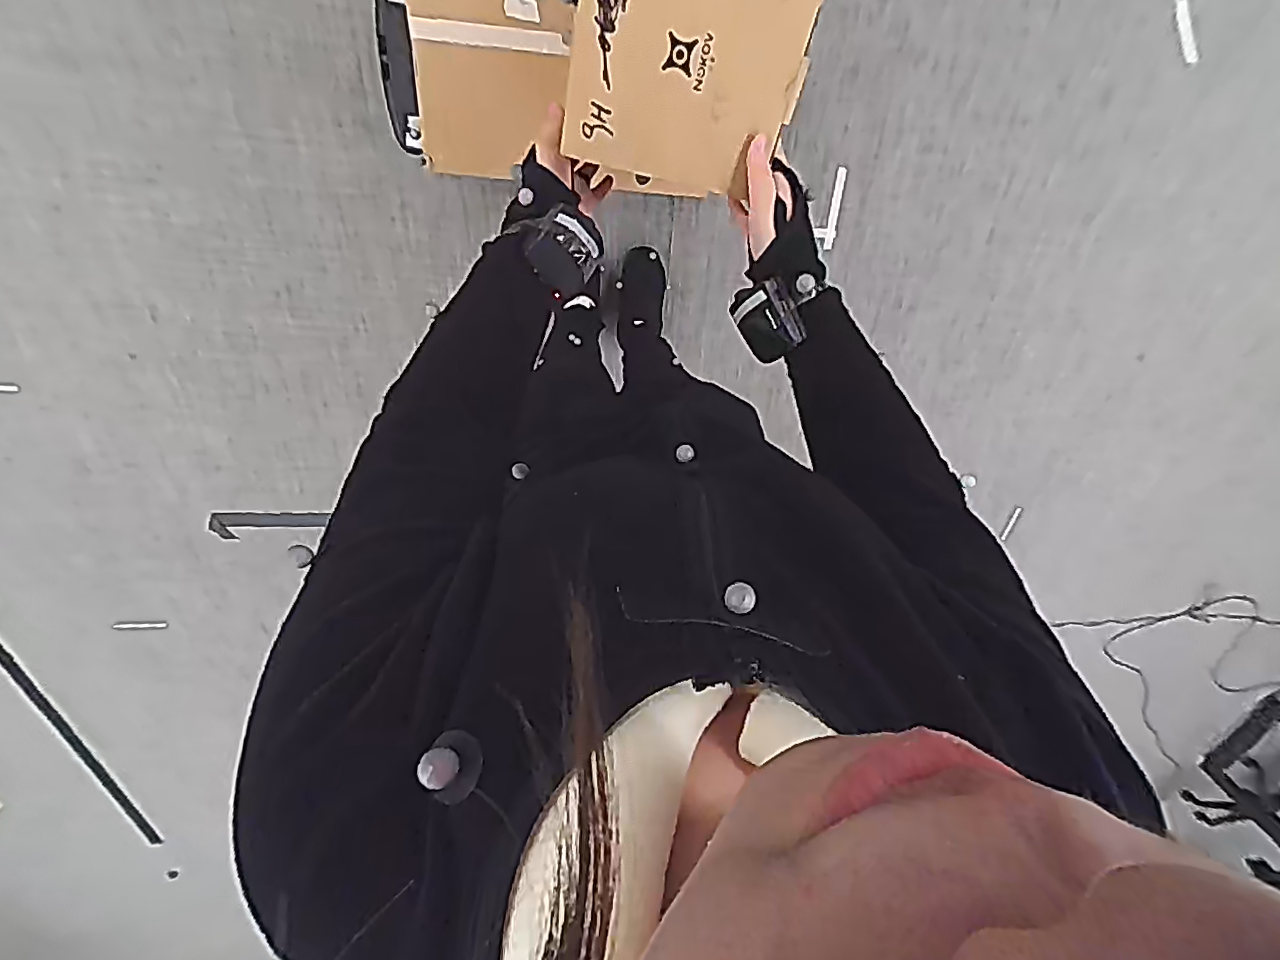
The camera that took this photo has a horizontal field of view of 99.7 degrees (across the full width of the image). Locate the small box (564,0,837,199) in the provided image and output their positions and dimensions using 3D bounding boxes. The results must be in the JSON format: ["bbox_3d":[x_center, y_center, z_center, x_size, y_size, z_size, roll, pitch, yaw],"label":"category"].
[{"bbox_3d":[0.035,-0.358,0.457,0.179,0.176,0.168,7,124,-13],"label":"small box"}]

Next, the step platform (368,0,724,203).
[{"bbox_3d":[-0.131,-0.736,1.017,0.684,0.204,0.286,6,121,-9],"label":"step platform"}]

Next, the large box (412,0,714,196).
[{"bbox_3d":[-0.089,-0.625,0.809,0.408,0.320,0.320,2,121,-6],"label":"large box"}]
